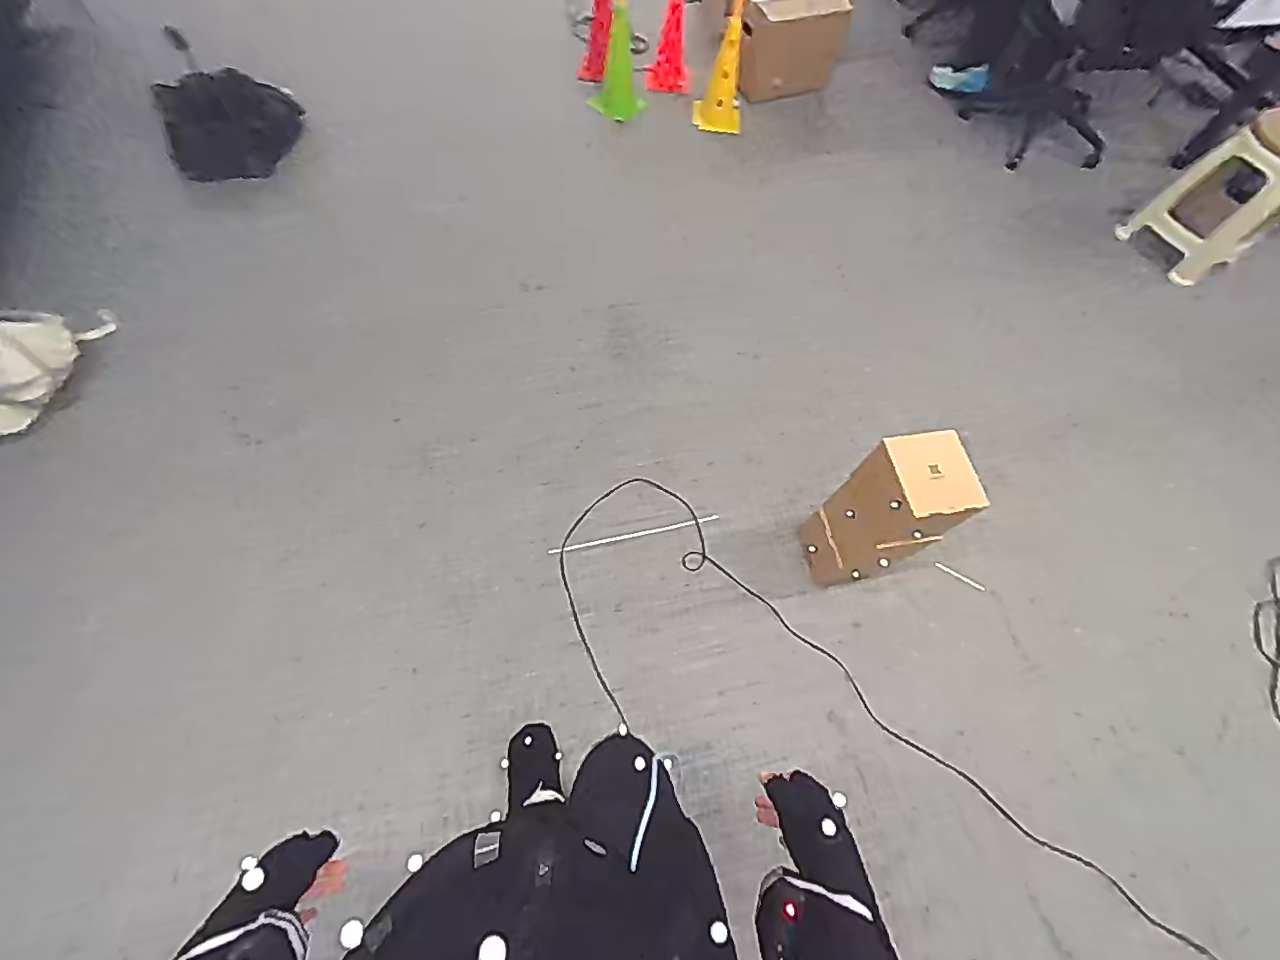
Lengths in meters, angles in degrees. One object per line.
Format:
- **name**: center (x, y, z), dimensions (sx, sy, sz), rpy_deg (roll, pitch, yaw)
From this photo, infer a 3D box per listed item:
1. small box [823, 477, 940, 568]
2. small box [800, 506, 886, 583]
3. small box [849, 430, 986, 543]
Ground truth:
- **small box**: center (0.563, 0.094, 1.288), dimensions (0.168, 0.176, 0.179), rpy_deg (-8, 66, -8)
- **small box**: center (0.543, 0.165, 1.436), dimensions (0.179, 0.176, 0.168), rpy_deg (-8, 66, -8)
- **small box**: center (0.573, 0.017, 1.145), dimensions (0.168, 0.176, 0.179), rpy_deg (-8, 66, -9)
